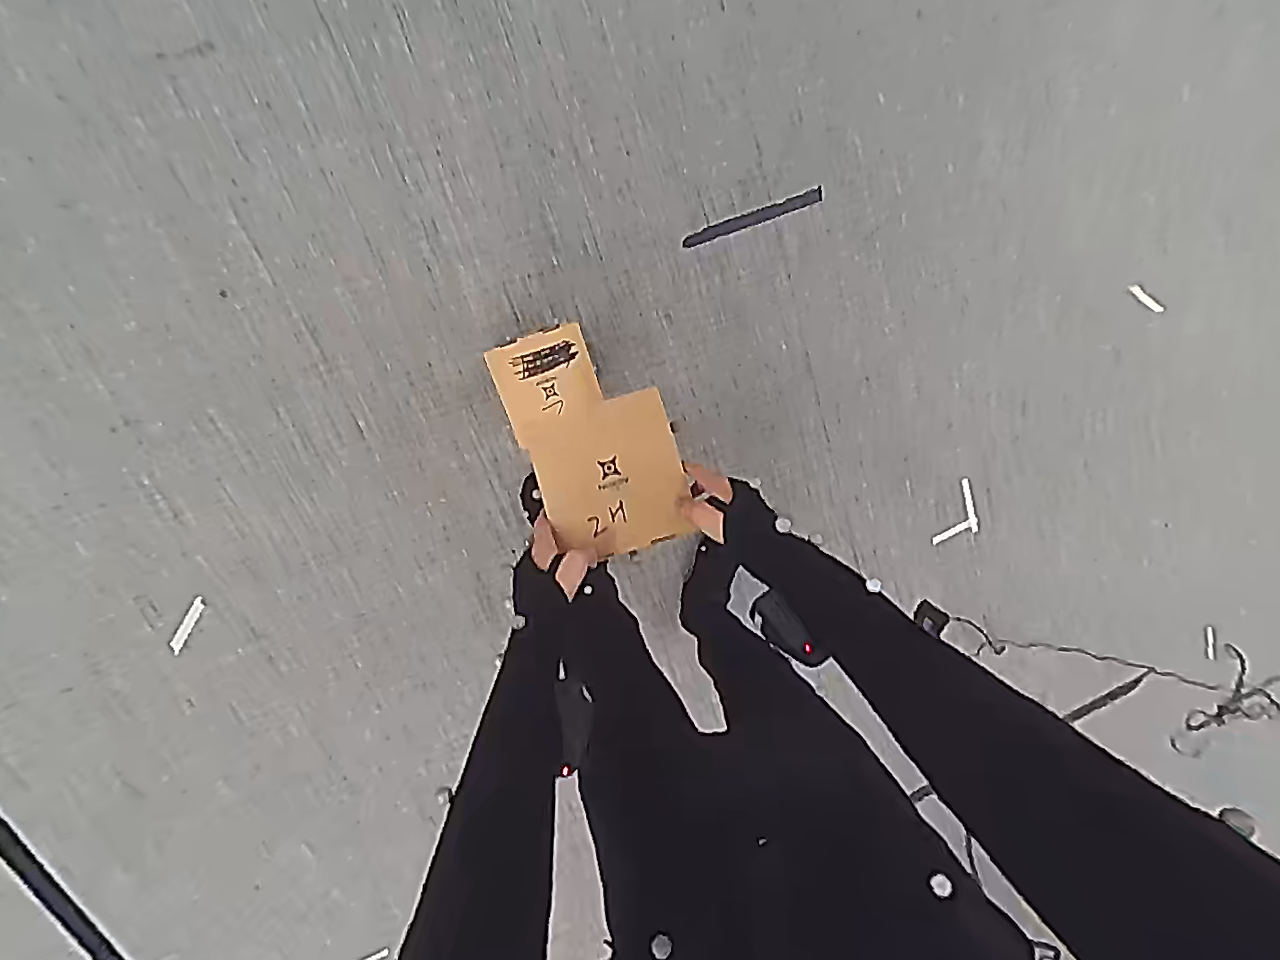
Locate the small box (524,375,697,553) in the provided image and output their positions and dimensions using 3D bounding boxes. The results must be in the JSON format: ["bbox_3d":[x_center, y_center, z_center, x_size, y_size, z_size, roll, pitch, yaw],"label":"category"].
[{"bbox_3d":[-0.036,-0.010,0.699,0.168,0.176,0.179,-17,83,-2],"label":"small box"}]

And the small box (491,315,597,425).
[{"bbox_3d":[-0.203,-0.229,1.140,0.168,0.176,0.179,-24,106,-7],"label":"small box"}]
